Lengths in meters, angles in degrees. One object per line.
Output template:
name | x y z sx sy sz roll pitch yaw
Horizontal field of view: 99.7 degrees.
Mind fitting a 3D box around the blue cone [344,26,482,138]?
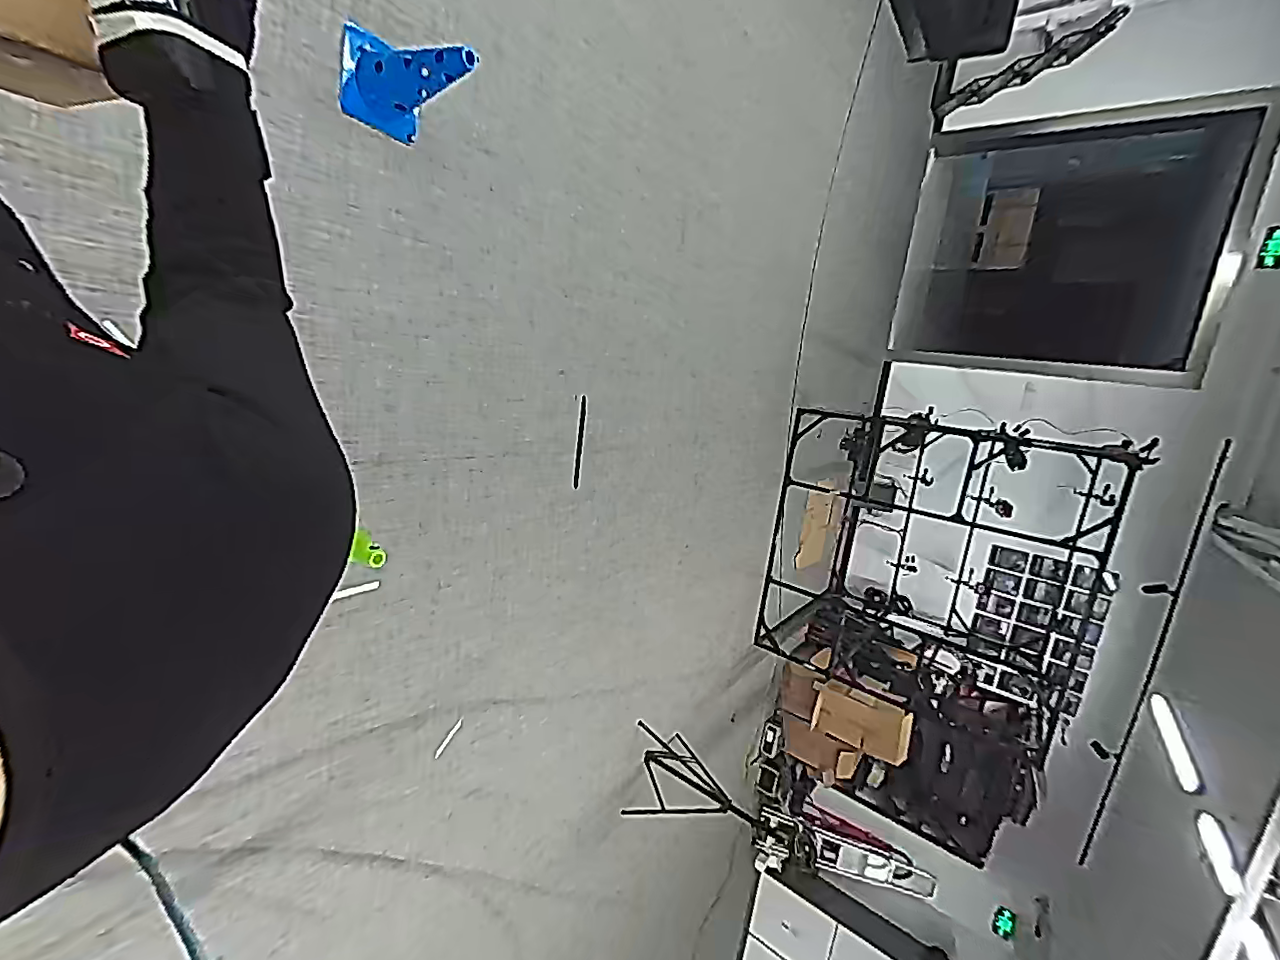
blue cone | -0.516 -0.962 1.275 0.192 0.380 0.193 -2 105 -56

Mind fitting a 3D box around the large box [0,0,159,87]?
large box | -0.554 -0.466 0.269 0.408 0.320 0.320 -11 118 -55
